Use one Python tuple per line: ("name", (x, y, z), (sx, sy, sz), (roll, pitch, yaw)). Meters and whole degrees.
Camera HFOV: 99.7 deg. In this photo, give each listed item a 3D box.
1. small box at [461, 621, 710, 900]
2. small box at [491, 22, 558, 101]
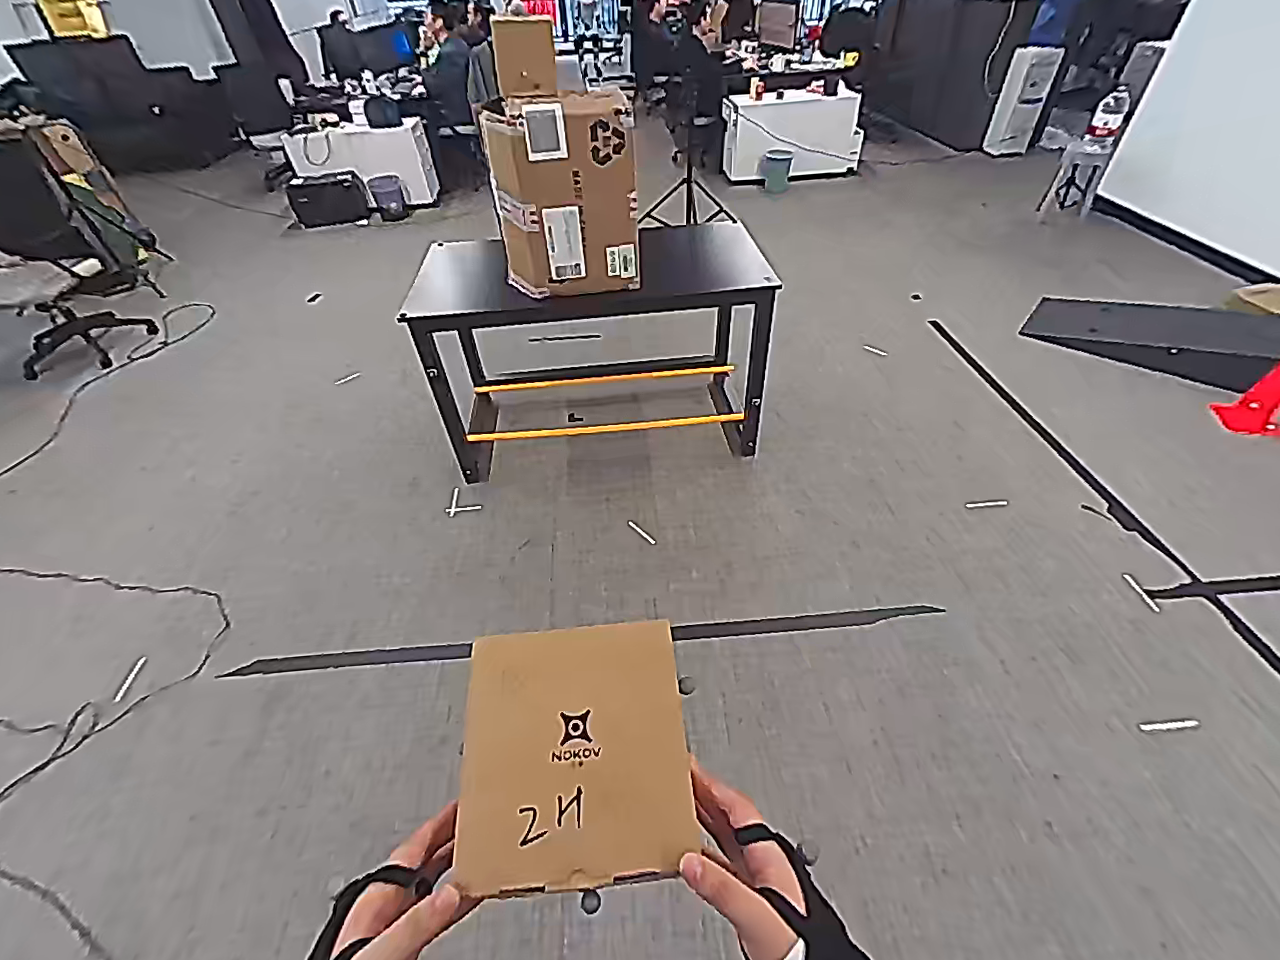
("small box", (-0.041, 0.242, 0.465), (0.168, 0.176, 0.179), (-5, 52, -3))
("small box", (-0.327, -1.193, 1.540), (0.168, 0.176, 0.179), (-8, 42, -8))
